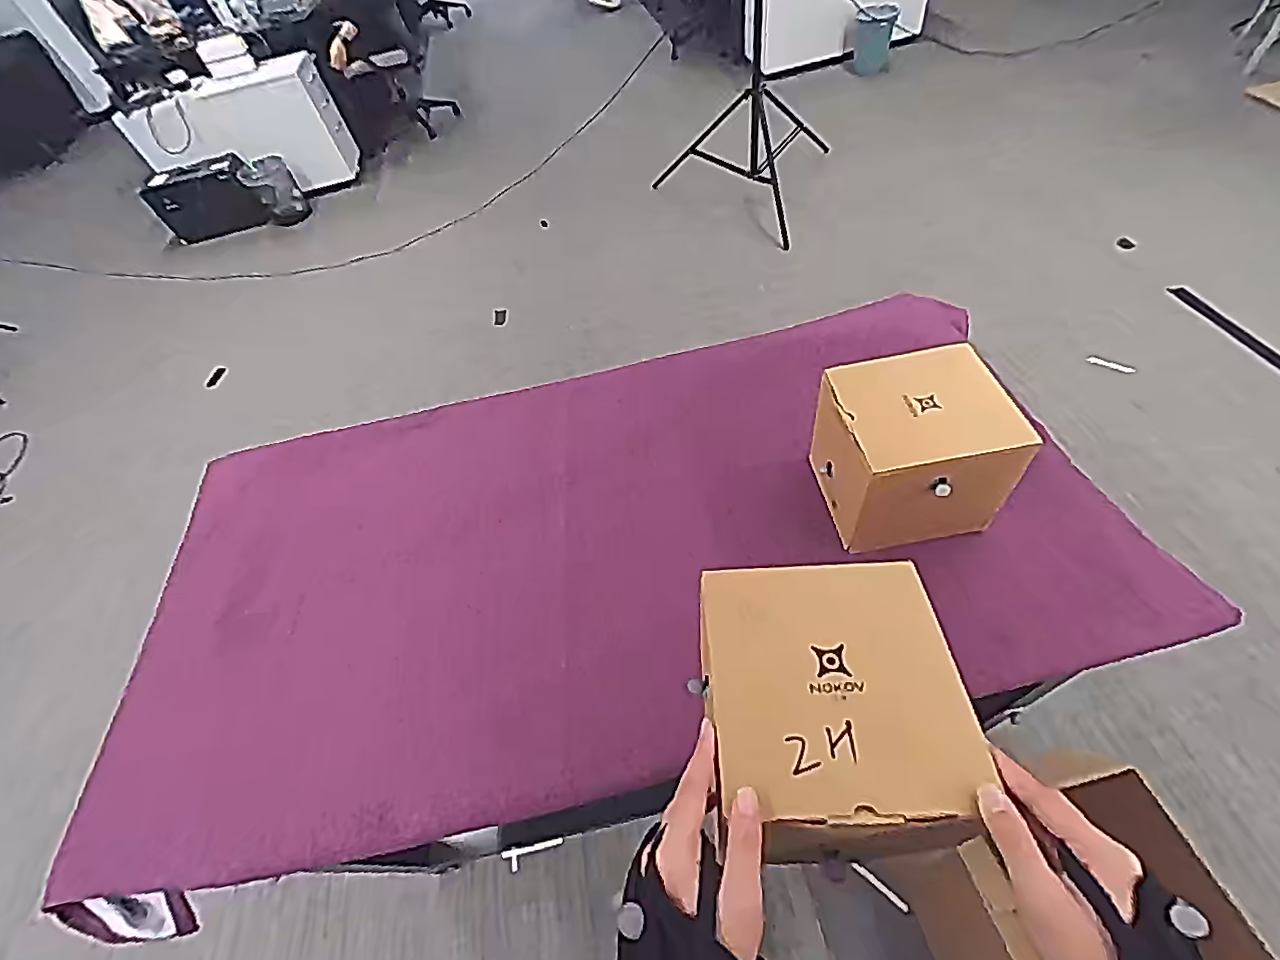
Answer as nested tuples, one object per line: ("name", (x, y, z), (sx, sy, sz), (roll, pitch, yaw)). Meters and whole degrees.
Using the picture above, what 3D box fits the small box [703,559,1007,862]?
("small box", (0.137, 0.182, 0.429), (0.168, 0.176, 0.179), (-3, 47, 4))

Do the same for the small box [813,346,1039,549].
("small box", (0.327, -0.034, 0.665), (0.179, 0.176, 0.168), (-11, 52, 4))
